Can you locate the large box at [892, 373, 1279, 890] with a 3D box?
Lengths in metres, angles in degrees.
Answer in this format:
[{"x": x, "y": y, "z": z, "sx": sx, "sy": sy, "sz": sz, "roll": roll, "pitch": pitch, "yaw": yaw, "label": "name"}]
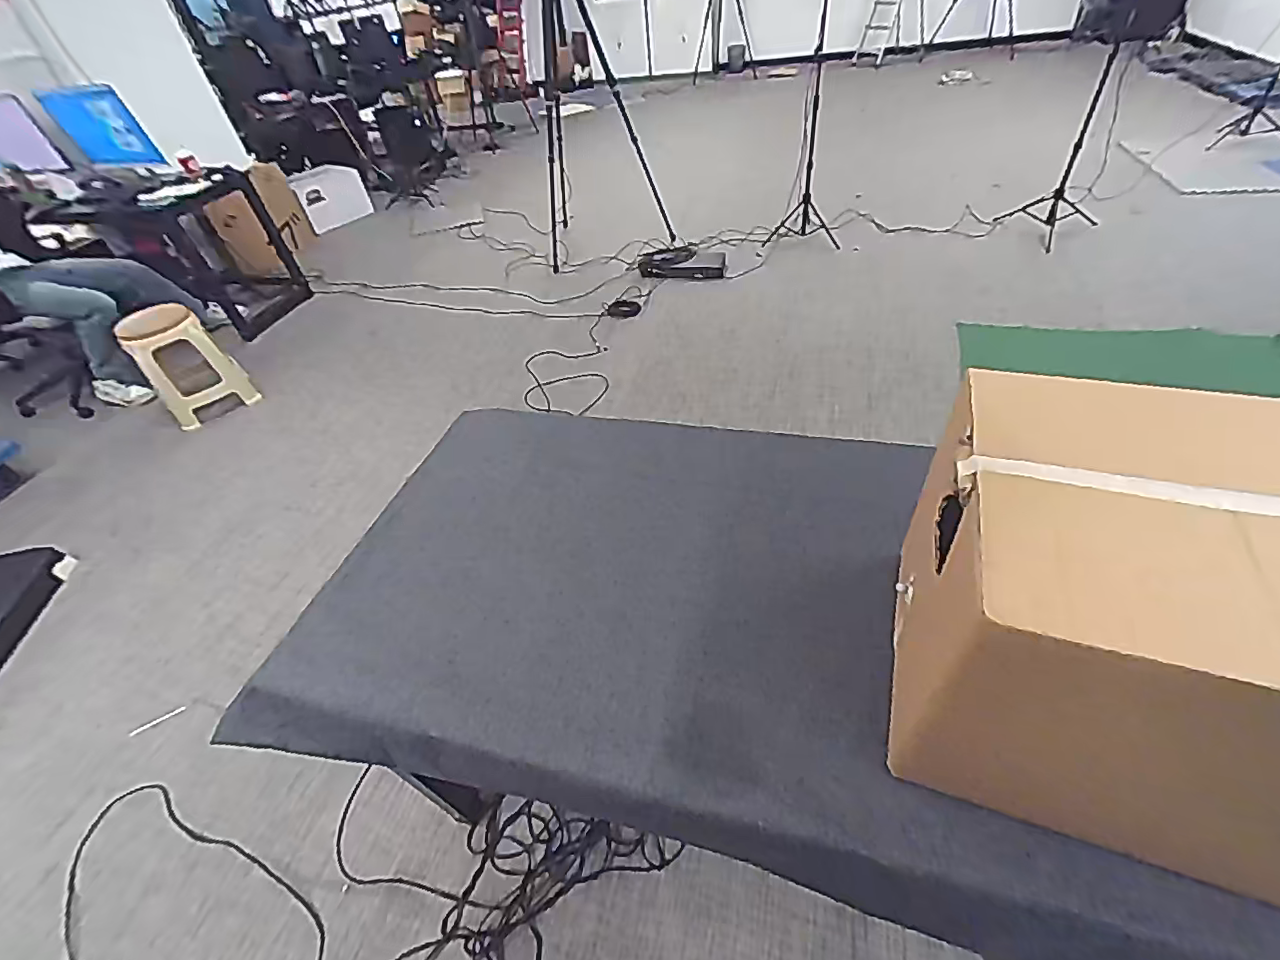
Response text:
[{"x": 0.485, "y": 0.131, "z": 0.506, "sx": 0.408, "sy": 0.320, "sz": 0.320, "roll": 12, "pitch": 48, "yaw": 18, "label": "large box"}]
